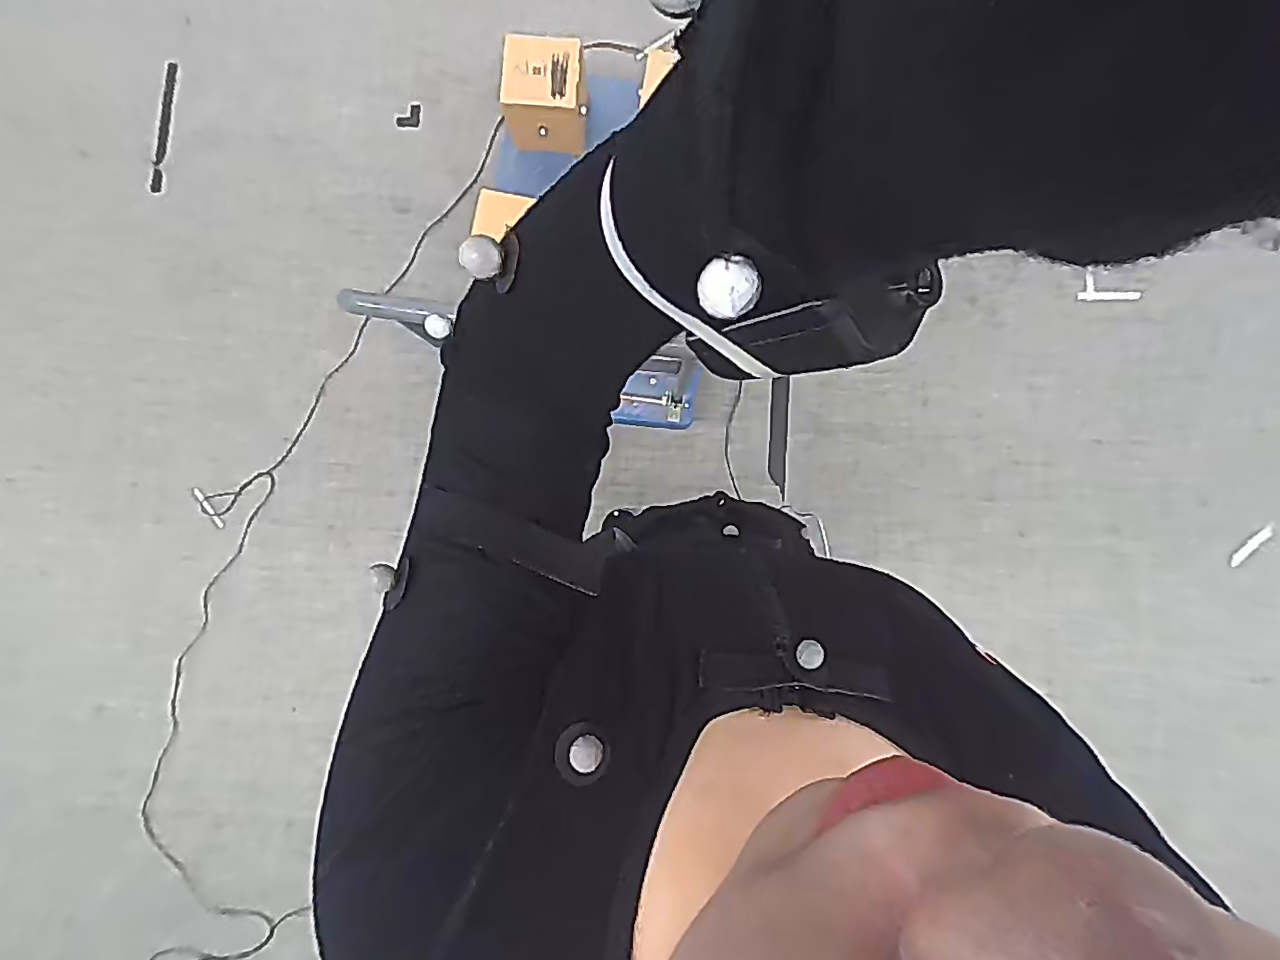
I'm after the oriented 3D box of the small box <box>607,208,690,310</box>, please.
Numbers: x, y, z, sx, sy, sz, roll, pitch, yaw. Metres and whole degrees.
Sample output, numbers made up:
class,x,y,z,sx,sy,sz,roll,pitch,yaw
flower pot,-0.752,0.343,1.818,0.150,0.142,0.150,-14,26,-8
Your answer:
class,x,y,z,sx,sy,sz,roll,pitch,yaw
small box,0.021,-0.515,1.279,0.179,0.176,0.168,4,87,1

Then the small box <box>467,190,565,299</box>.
class,x,y,z,sx,sy,sz,roll,pitch,yaw
small box,-0.286,-0.549,1.284,0.179,0.176,0.168,11,87,0
